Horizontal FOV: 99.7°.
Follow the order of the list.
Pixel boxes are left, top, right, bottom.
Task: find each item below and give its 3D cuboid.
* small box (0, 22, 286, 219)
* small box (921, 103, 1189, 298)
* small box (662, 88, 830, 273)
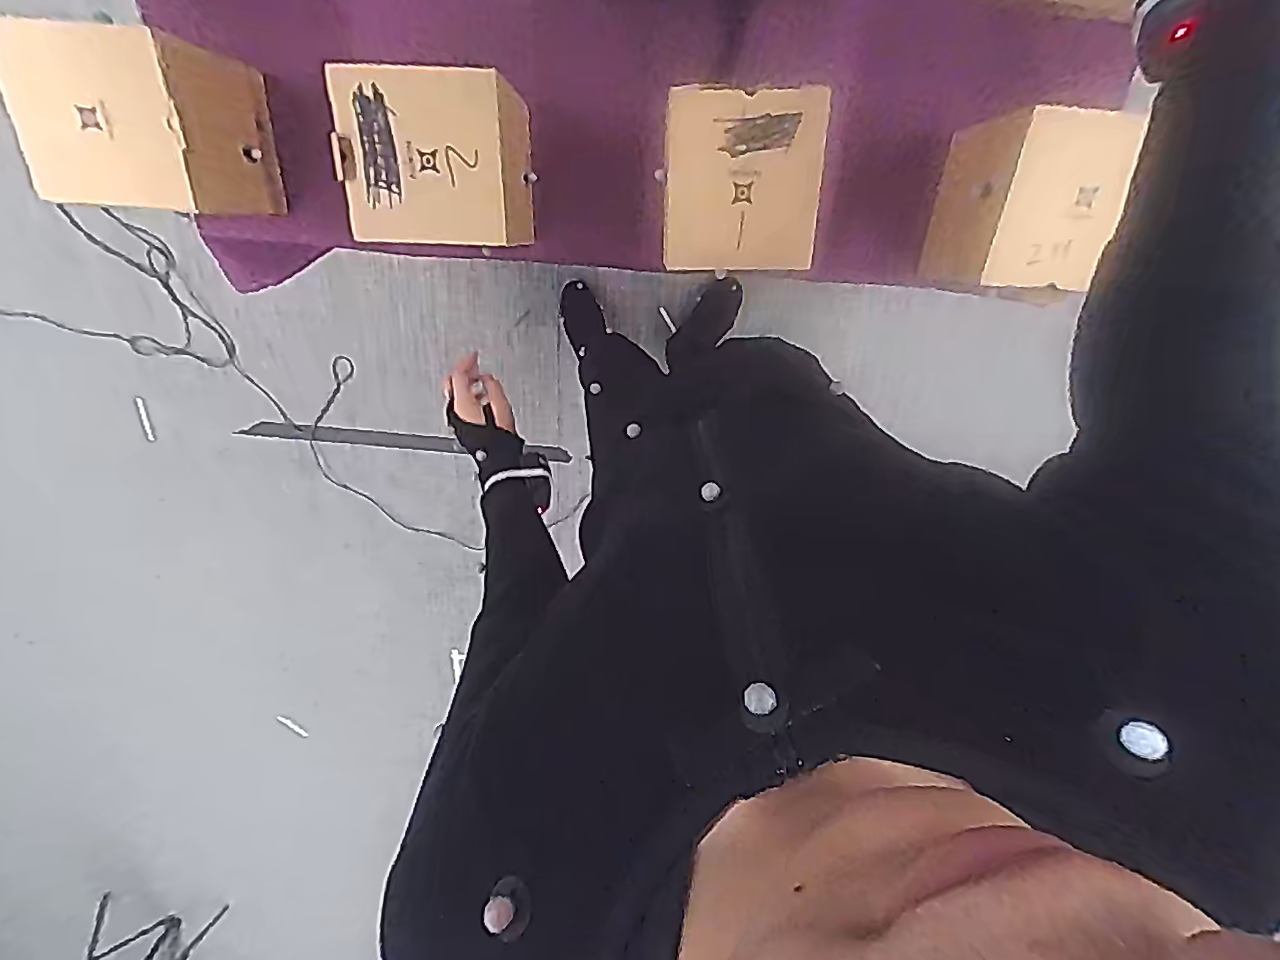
[{"bbox_3d":[-0.568,-0.406,0.640,0.179,0.176,0.168,3,114,-1],"label":"small box"},{"bbox_3d":[0.472,-0.326,0.653,0.168,0.176,0.179,5,114,0],"label":"small box"},{"bbox_3d":[0.112,-0.349,0.653,0.168,0.176,0.179,0,115,1],"label":"small box"}]
